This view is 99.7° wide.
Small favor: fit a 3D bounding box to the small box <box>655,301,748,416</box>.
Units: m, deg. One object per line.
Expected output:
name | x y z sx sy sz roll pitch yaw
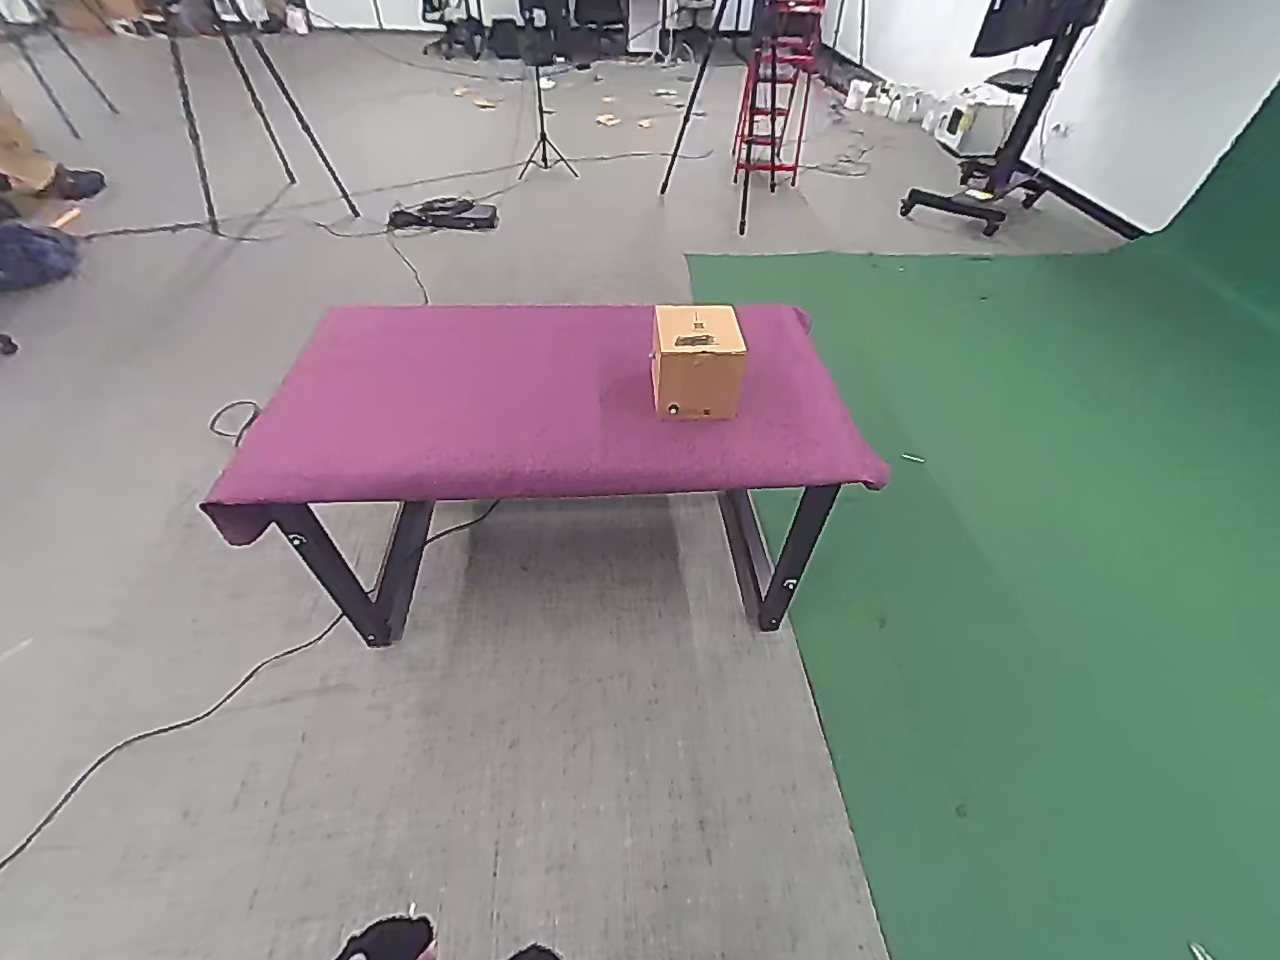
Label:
small box | 0.121 -0.249 1.124 0.168 0.176 0.179 3 48 -2
